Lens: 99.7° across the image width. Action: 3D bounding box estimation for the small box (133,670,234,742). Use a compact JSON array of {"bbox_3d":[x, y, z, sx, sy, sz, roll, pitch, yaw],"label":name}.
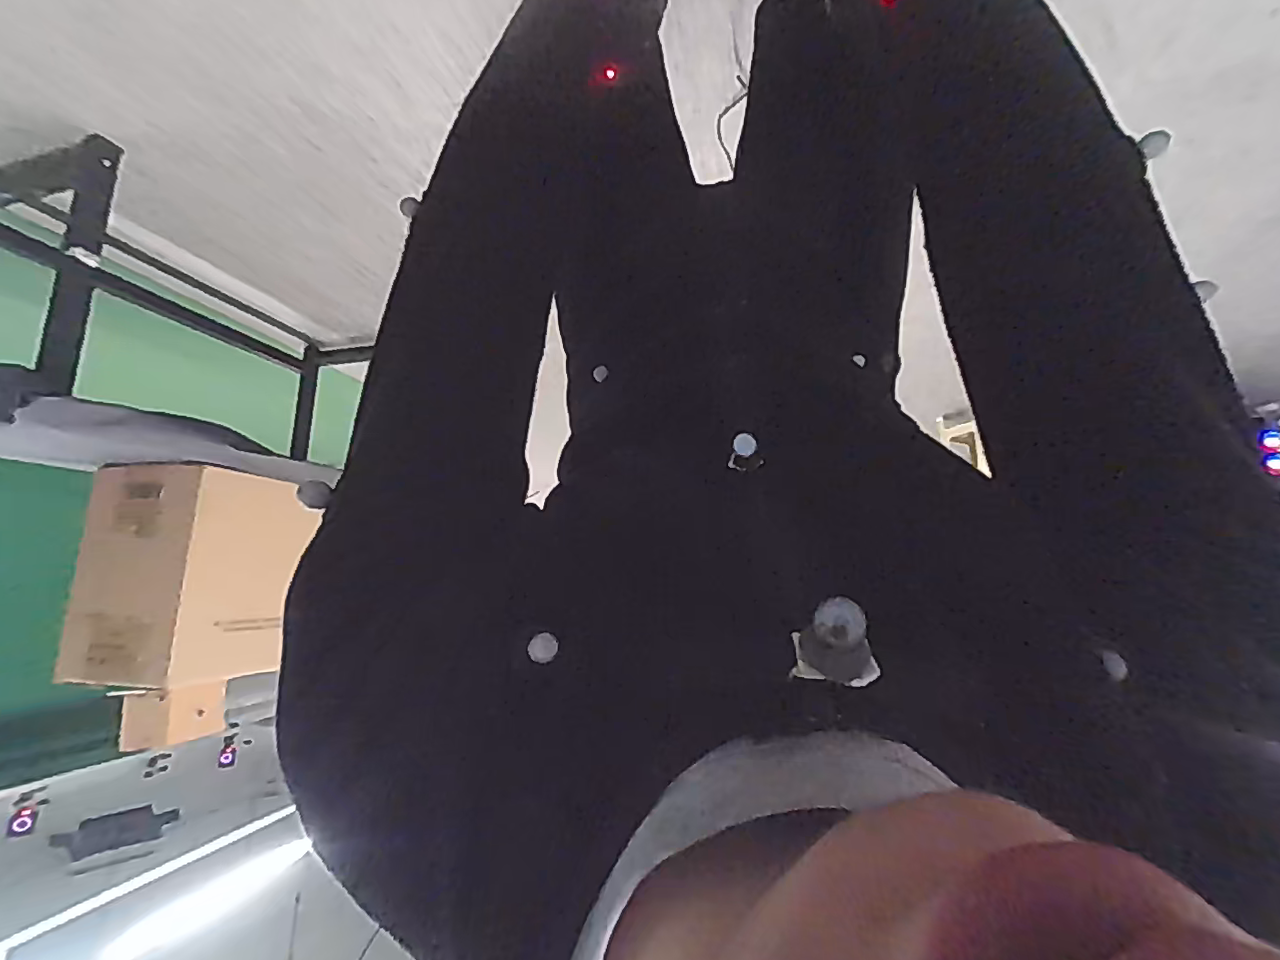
[{"bbox_3d":[-1.391,0.686,1.655,0.168,0.176,0.179,-7,169,10],"label":"small box"}]
